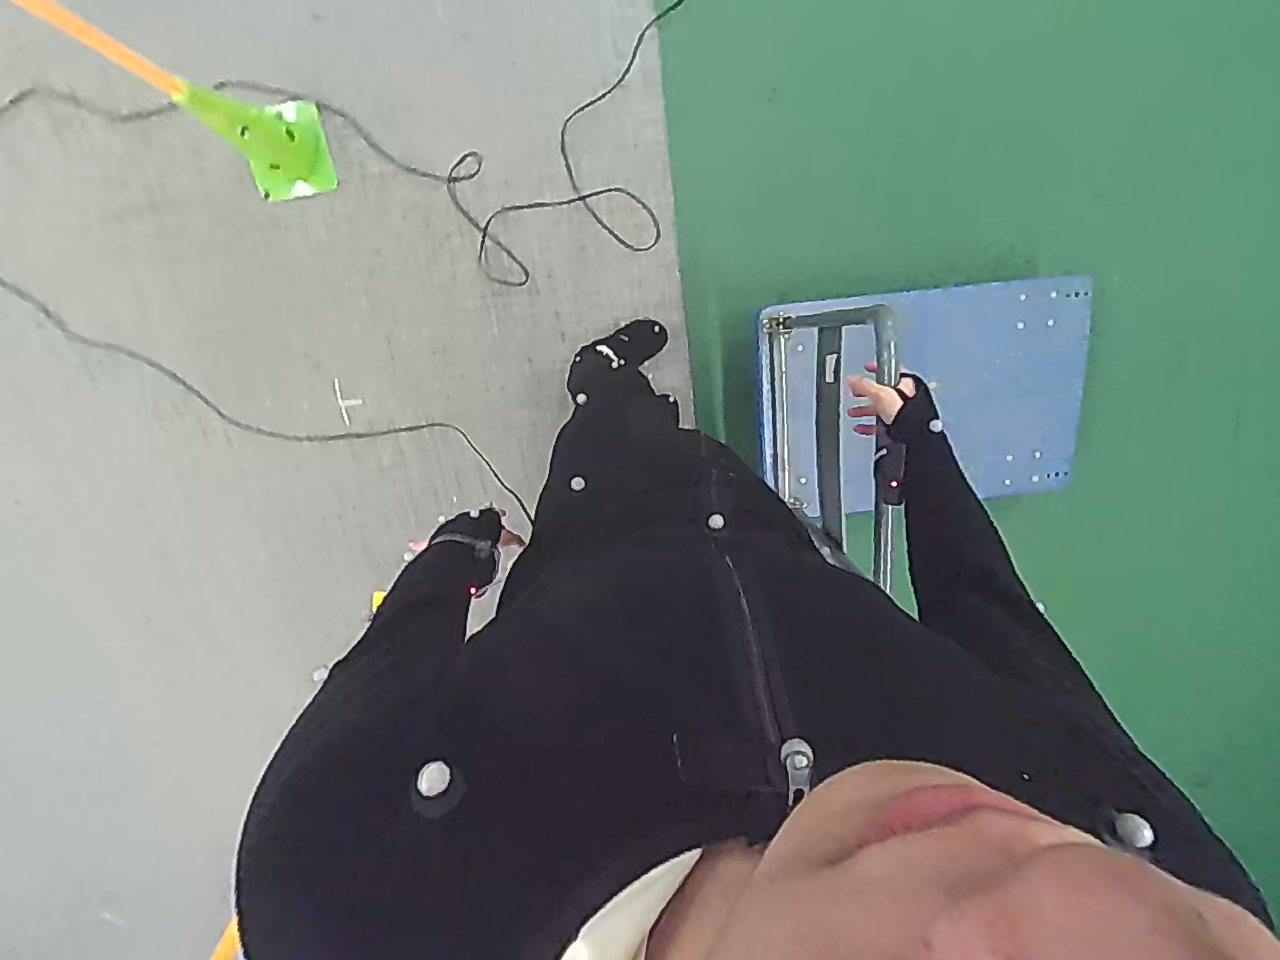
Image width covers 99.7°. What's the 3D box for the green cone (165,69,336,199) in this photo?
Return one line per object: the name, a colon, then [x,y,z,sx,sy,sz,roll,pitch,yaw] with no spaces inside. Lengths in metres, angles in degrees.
green cone: [-0.872,-0.784,1.185,0.200,0.368,0.202,-12,104,0]
